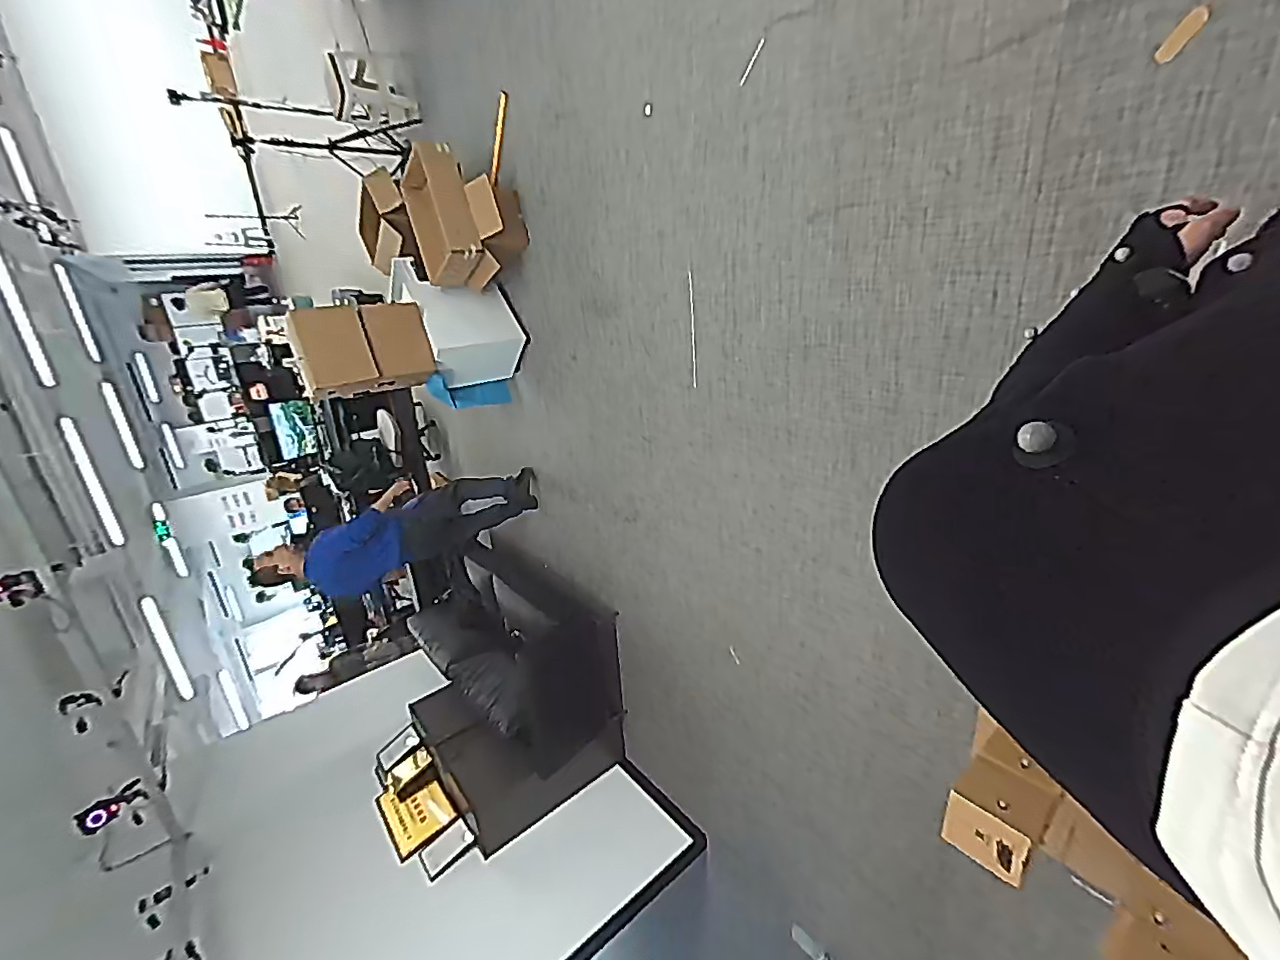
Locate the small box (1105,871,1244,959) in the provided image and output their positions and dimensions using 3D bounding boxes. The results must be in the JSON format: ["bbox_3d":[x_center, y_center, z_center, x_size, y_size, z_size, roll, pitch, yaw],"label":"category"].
[{"bbox_3d":[1.248,1.068,1.265,0.179,0.176,0.168,29,128,43],"label":"small box"}]

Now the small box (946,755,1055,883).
[{"bbox_3d":[0.897,0.830,1.345,0.179,0.176,0.168,20,120,46],"label":"small box"}]

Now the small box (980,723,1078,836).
[{"bbox_3d":[1.024,0.782,1.439,0.179,0.176,0.168,19,119,46],"label":"small box"}]

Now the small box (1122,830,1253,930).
[{"bbox_3d":[1.377,1.030,1.362,0.179,0.176,0.168,30,128,43],"label":"small box"}]
